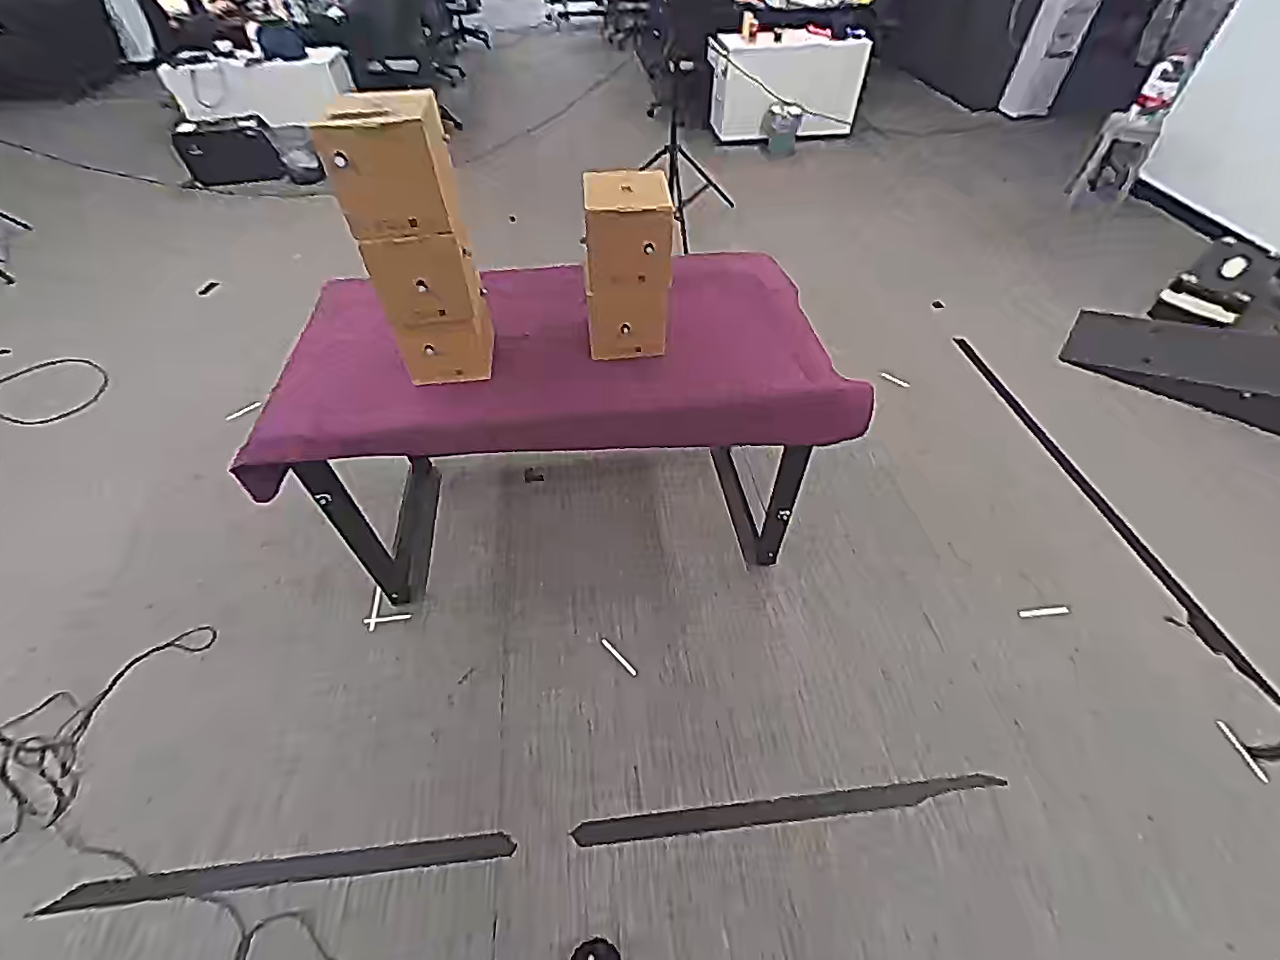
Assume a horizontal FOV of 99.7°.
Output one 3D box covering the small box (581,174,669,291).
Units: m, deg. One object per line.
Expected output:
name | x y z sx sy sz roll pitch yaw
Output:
small box | -0.032 -0.499 1.103 0.168 0.176 0.179 -4 49 -4

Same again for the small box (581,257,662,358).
small box | -0.041 -0.390 1.223 0.168 0.176 0.179 -5 49 -5

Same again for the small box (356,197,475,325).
small box | -0.417 -0.411 1.033 0.168 0.176 0.179 -10 50 -8

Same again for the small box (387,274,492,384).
small box | -0.422 -0.321 1.171 0.168 0.176 0.179 -6 49 -5
